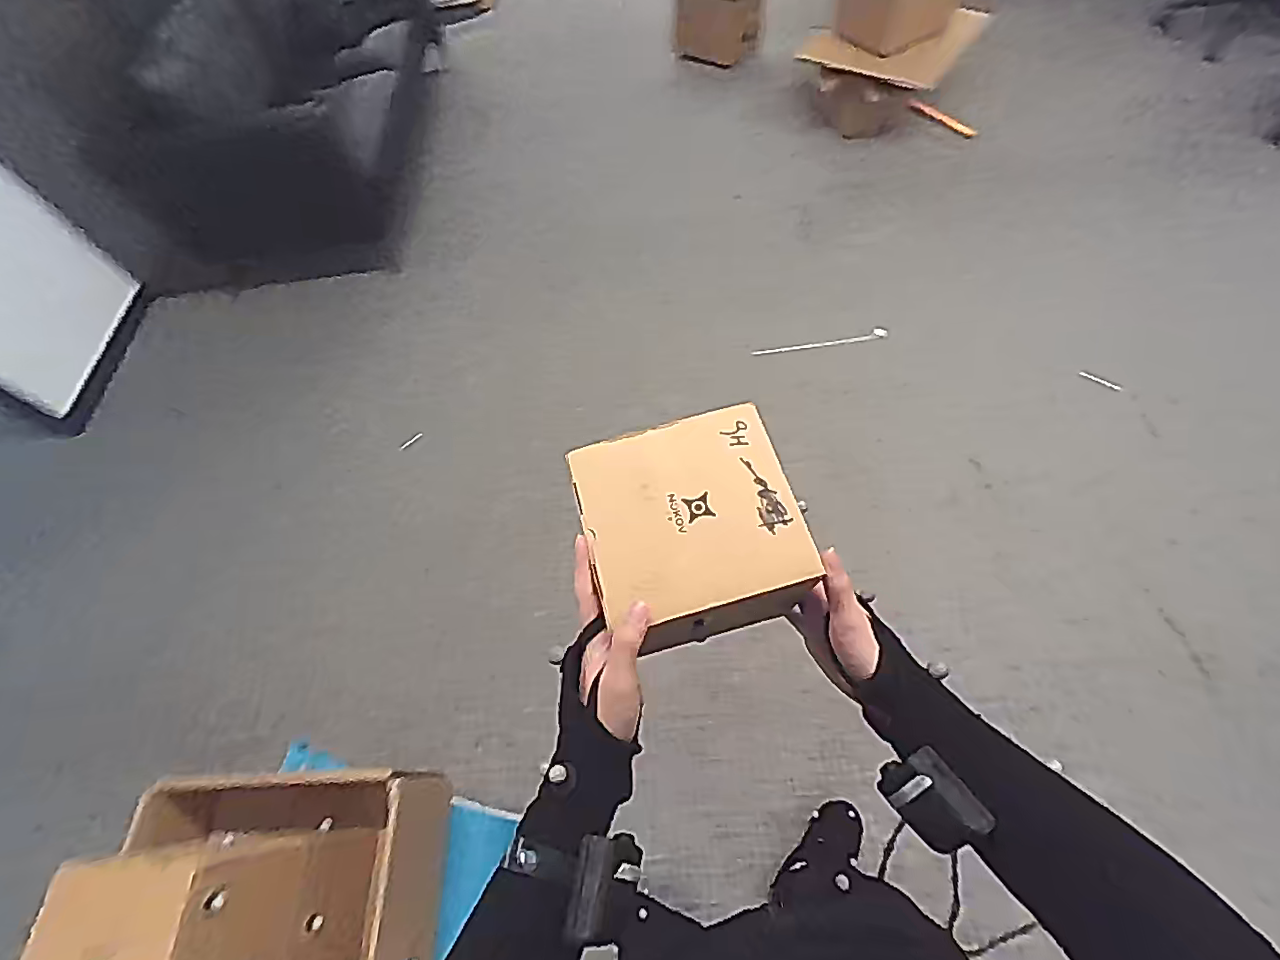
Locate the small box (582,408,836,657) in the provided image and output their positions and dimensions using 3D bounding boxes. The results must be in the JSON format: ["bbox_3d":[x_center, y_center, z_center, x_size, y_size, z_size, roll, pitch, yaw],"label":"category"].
[{"bbox_3d":[0.058,0.061,0.516,0.179,0.176,0.168,-15,65,-2],"label":"small box"}]
